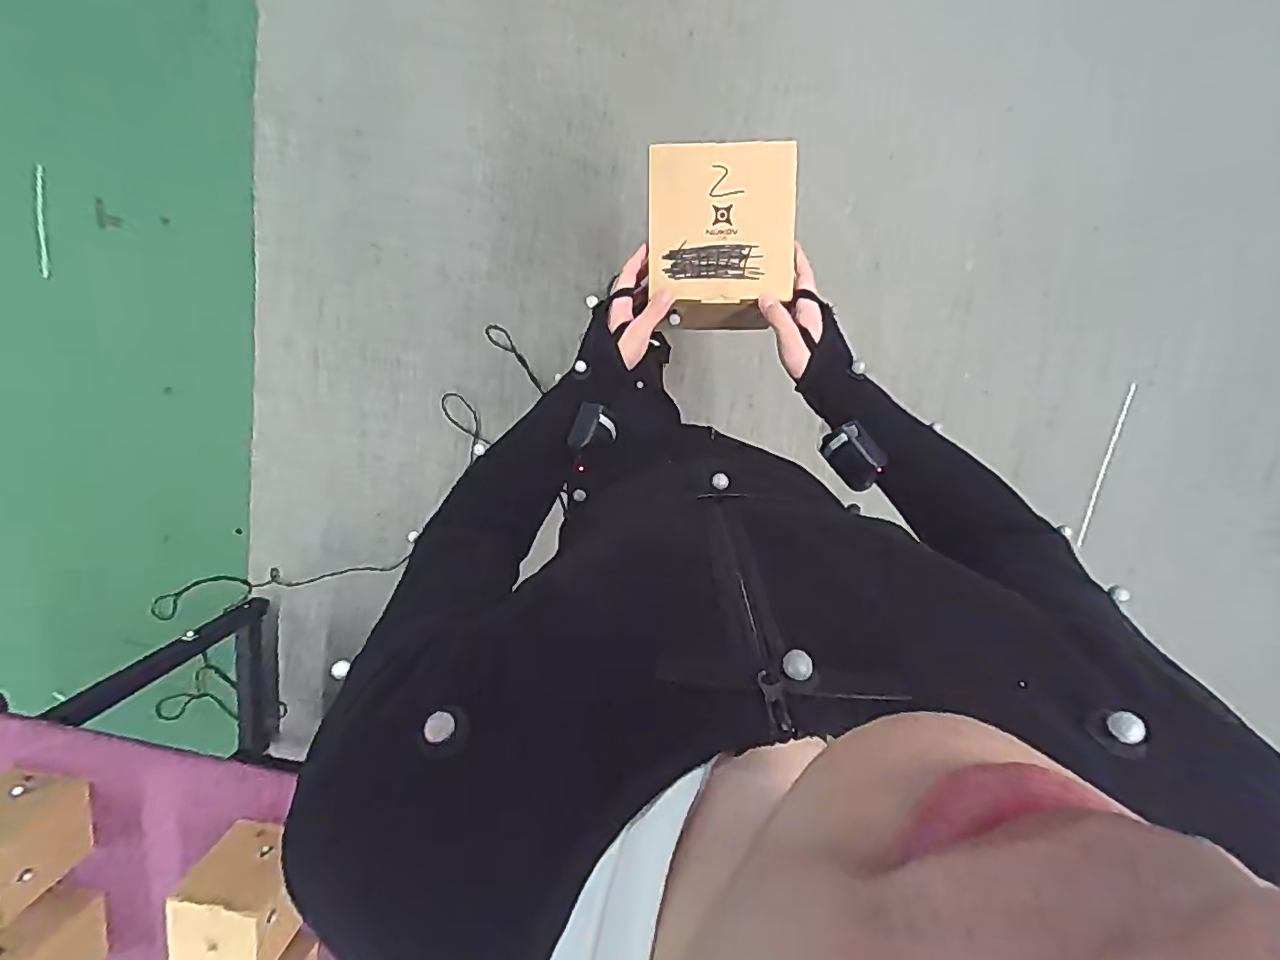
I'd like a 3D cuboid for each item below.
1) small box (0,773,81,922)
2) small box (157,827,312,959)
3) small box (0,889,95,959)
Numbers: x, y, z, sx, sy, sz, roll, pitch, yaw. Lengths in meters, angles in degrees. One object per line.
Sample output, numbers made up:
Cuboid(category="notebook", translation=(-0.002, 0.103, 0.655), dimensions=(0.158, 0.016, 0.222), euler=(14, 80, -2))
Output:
Cuboid(category="small box", translation=(-1.207, 0.693, 1.011), dimensions=(0.168, 0.176, 0.179), euler=(11, 102, 0))
Cuboid(category="small box", translation=(-0.741, 0.797, 1.004), dimensions=(0.168, 0.176, 0.179), euler=(10, 102, 3))
Cuboid(category="small box", translation=(-1.239, 0.962, 1.069), dimensions=(0.168, 0.176, 0.179), euler=(9, 102, 1))
